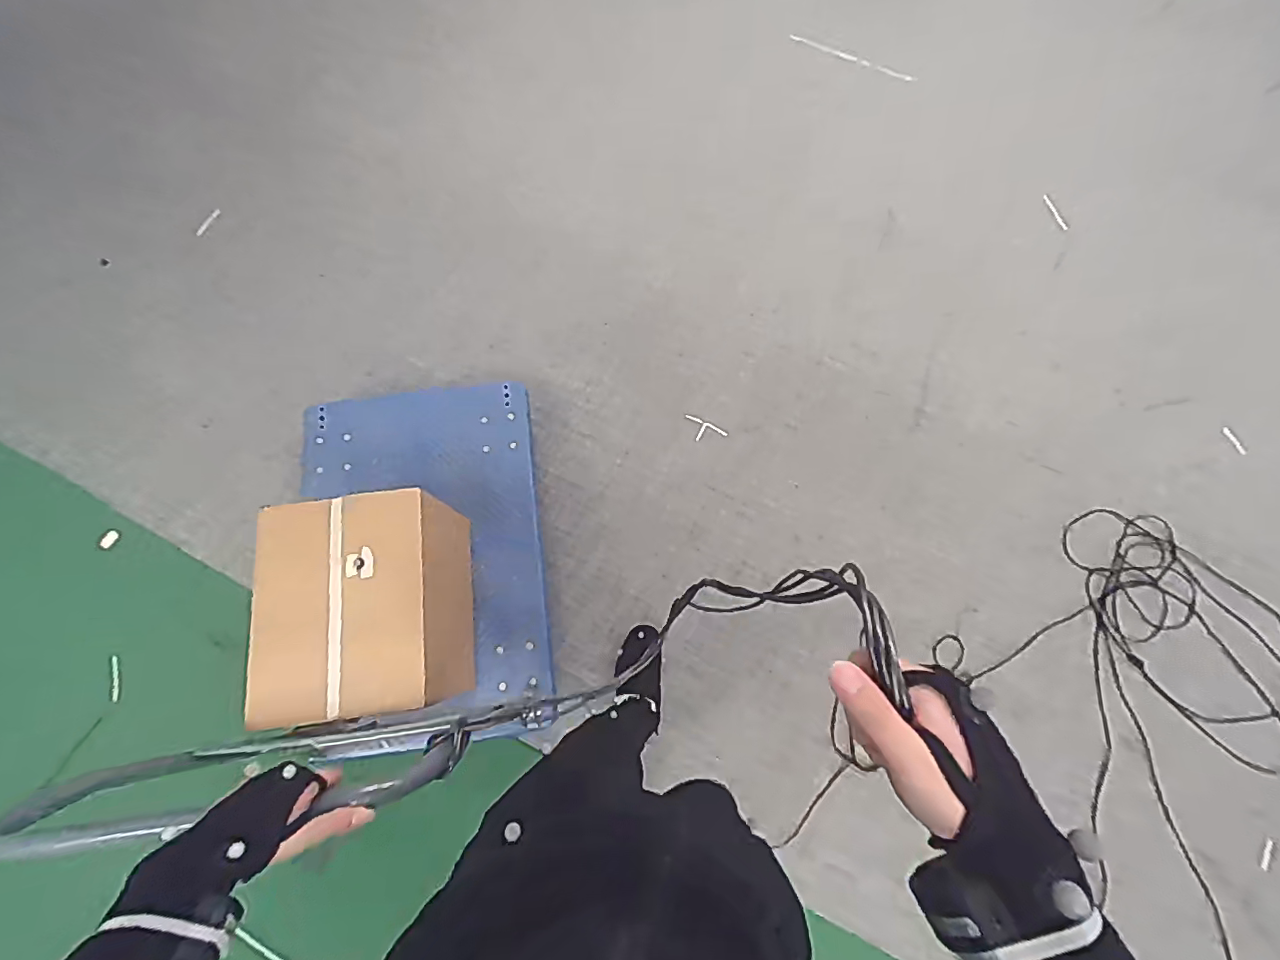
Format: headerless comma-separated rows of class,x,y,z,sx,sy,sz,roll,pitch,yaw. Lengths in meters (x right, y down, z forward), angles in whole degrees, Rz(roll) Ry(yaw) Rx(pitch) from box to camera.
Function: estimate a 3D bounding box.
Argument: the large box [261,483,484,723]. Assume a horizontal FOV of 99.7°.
large box,-0.536,0.257,1.140,0.320,0.320,0.408,-8,74,-2
